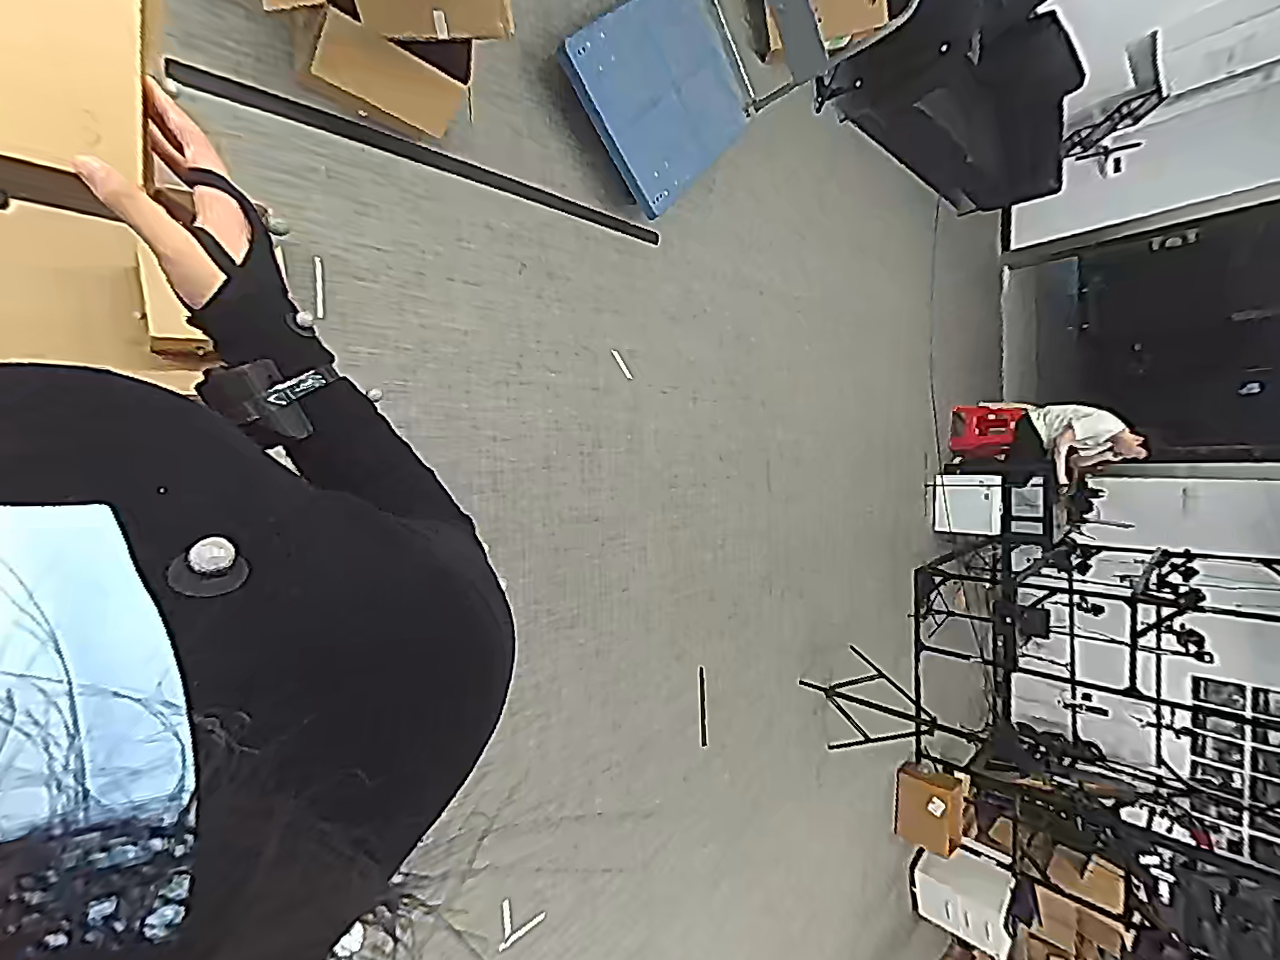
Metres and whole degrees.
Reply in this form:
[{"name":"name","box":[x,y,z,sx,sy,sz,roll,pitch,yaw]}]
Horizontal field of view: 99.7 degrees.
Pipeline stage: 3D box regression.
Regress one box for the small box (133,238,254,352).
[{"name":"small box","box":[-0.898,-0.359,1.090,0.168,0.176,0.179,-9,96,-43]}]
